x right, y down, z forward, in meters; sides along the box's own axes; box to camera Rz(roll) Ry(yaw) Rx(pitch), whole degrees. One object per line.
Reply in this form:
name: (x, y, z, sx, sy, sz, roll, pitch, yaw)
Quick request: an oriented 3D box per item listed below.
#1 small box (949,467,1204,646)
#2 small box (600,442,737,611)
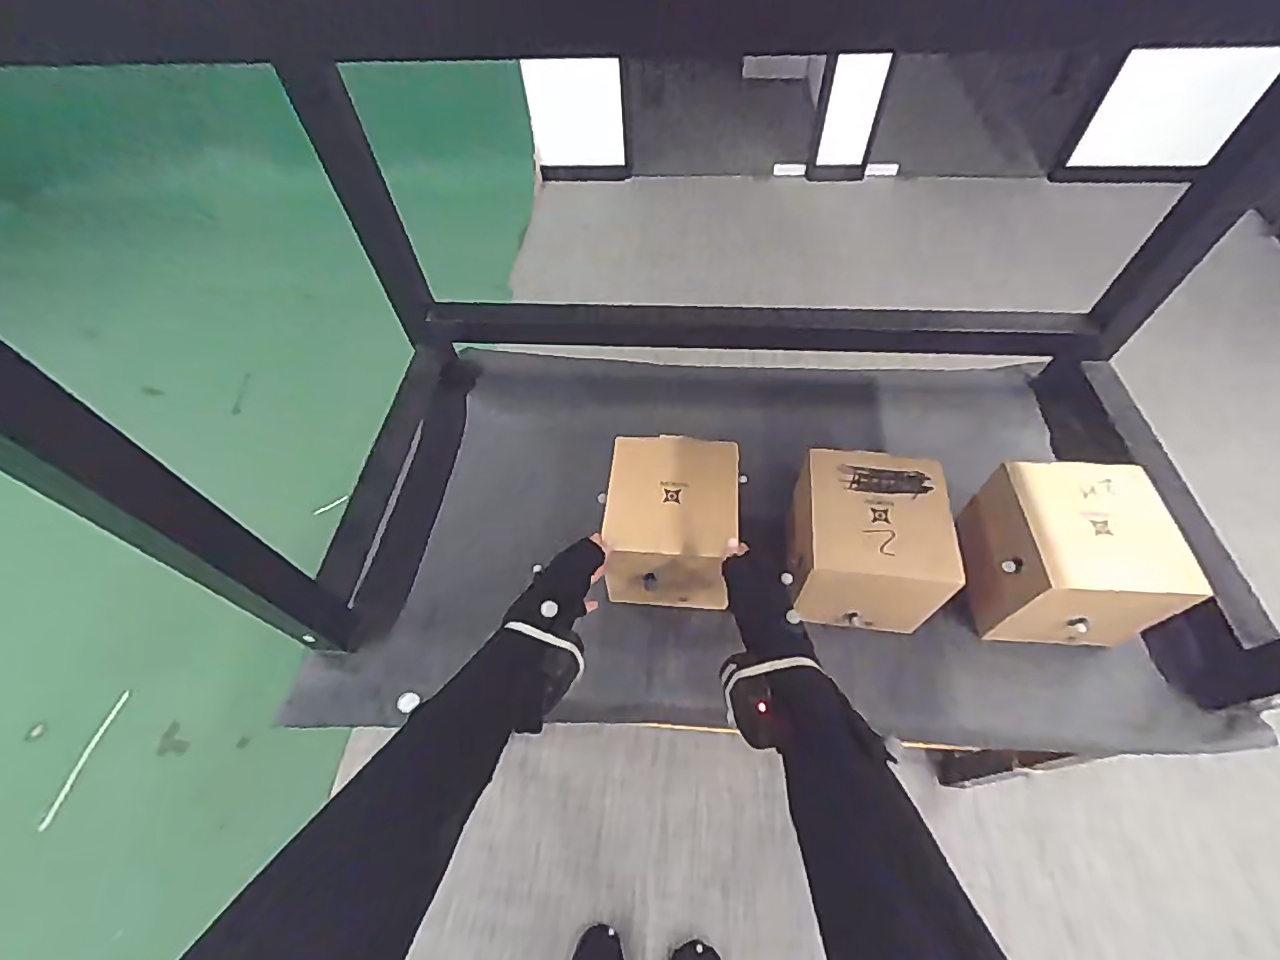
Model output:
small box: (0.534, 0.102, 0.697, 0.168, 0.176, 0.179, 2, 54, 4)
small box: (0.045, 0.069, 0.748, 0.168, 0.176, 0.179, 3, 54, 5)
